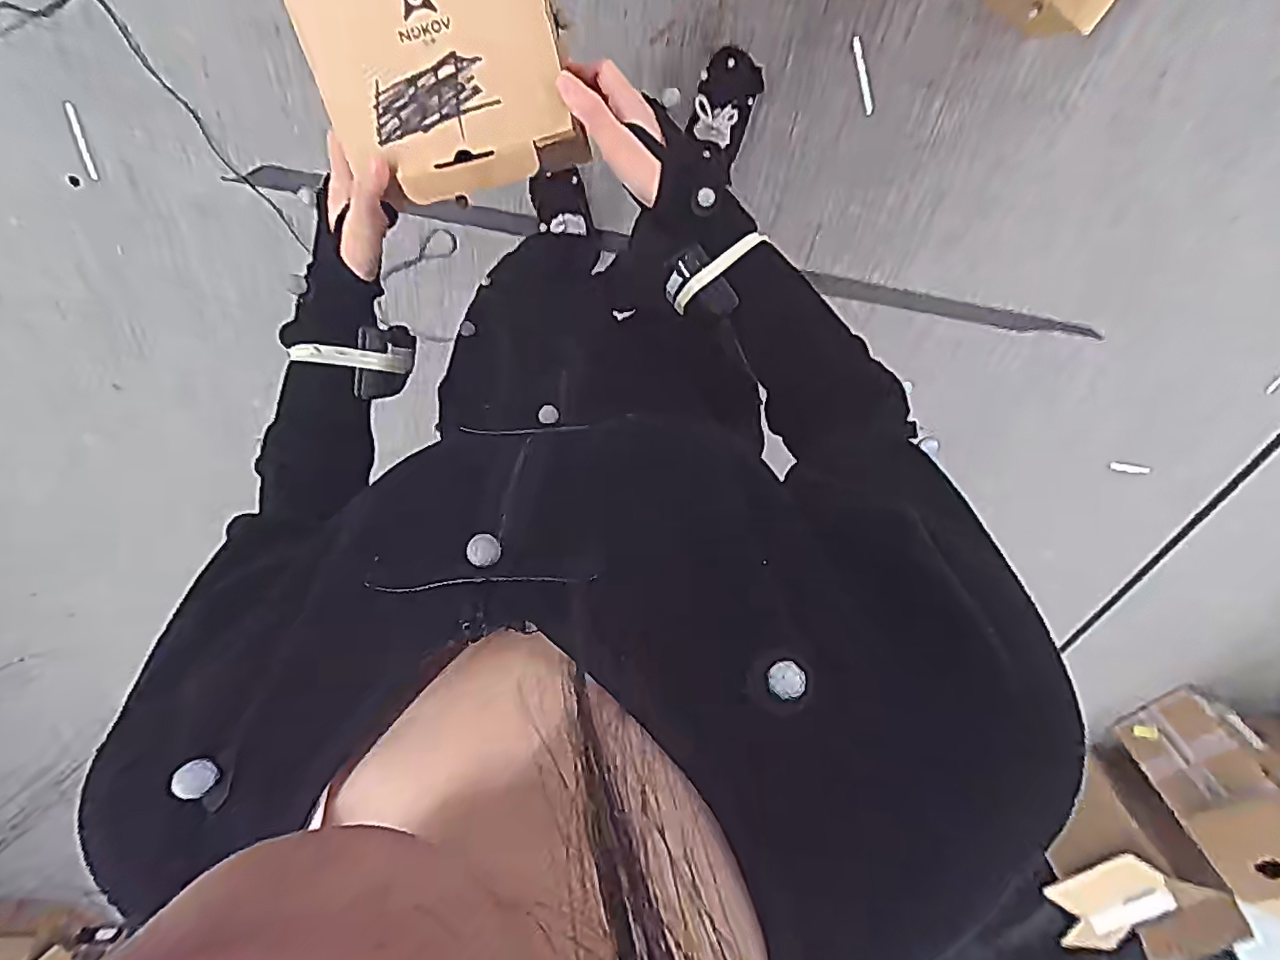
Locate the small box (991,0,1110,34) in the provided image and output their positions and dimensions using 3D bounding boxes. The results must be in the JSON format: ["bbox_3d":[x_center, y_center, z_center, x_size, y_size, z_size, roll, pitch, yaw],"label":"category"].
[{"bbox_3d":[0.754,-0.937,0.961,0.179,0.176,0.168,21,124,-17],"label":"small box"}]

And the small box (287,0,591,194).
[{"bbox_3d":[-0.140,-0.336,0.421,0.168,0.176,0.179,-12,113,5],"label":"small box"}]
